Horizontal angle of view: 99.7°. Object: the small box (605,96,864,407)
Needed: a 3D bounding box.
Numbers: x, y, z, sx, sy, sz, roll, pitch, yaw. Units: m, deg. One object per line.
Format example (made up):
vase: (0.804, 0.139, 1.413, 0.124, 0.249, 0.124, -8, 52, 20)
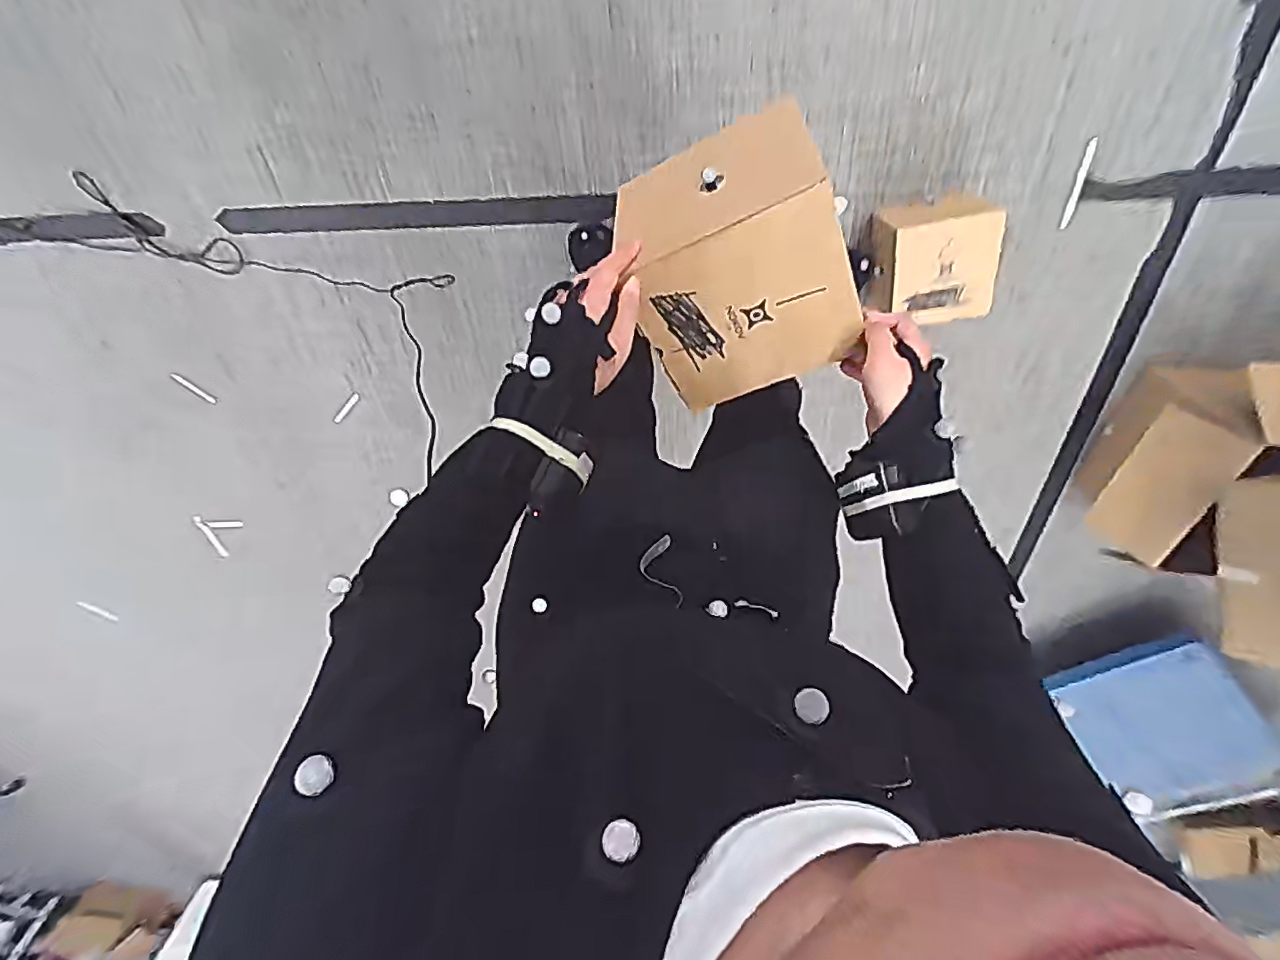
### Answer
small box: (0.086, -0.203, 0.500, 0.179, 0.176, 0.168, -18, 140, 22)
